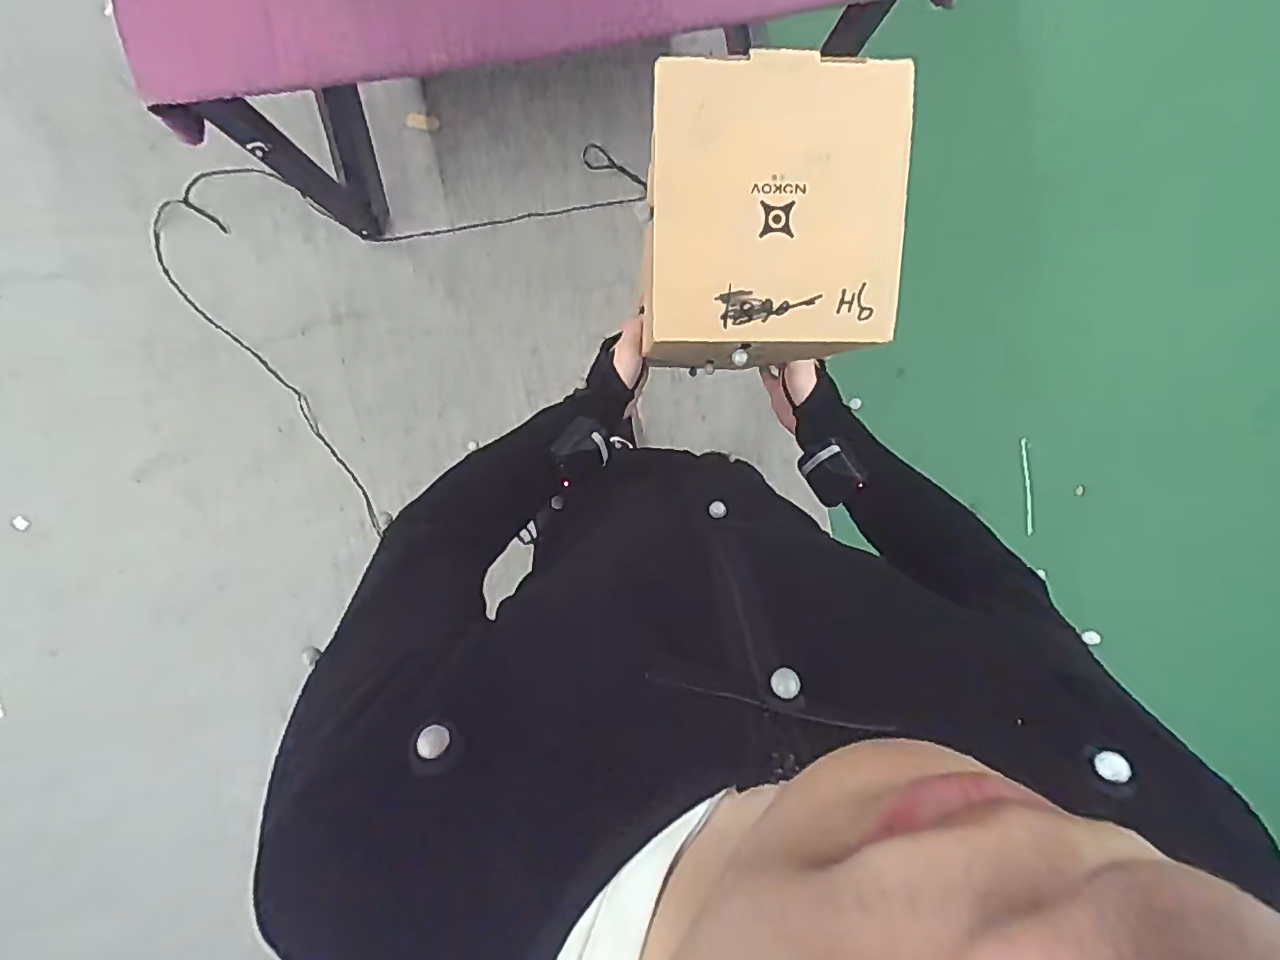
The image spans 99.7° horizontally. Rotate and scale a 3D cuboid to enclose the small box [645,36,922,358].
[{"bbox_3d":[0.089,-0.193,0.419,0.168,0.176,0.179,1,99,0],"label":"small box"}]
